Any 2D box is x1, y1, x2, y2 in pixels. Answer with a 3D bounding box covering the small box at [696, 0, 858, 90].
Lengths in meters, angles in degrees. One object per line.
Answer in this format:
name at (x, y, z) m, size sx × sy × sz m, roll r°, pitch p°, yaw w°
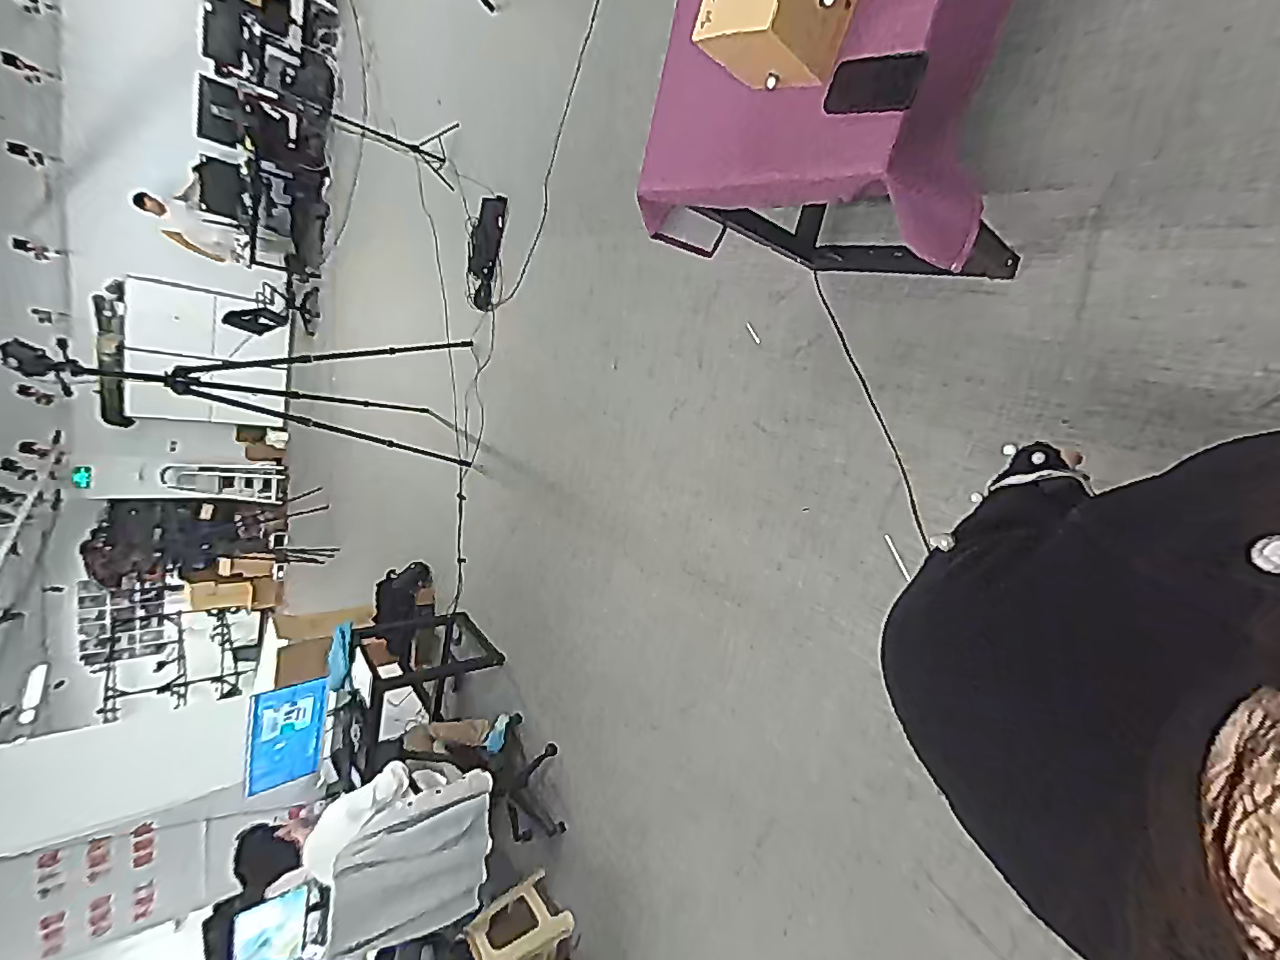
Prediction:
small box at (0.229, -0.767, 0.880) m, size 0.179 × 0.176 × 0.168 m, roll 37°, pitch 116°, yaw 42°
